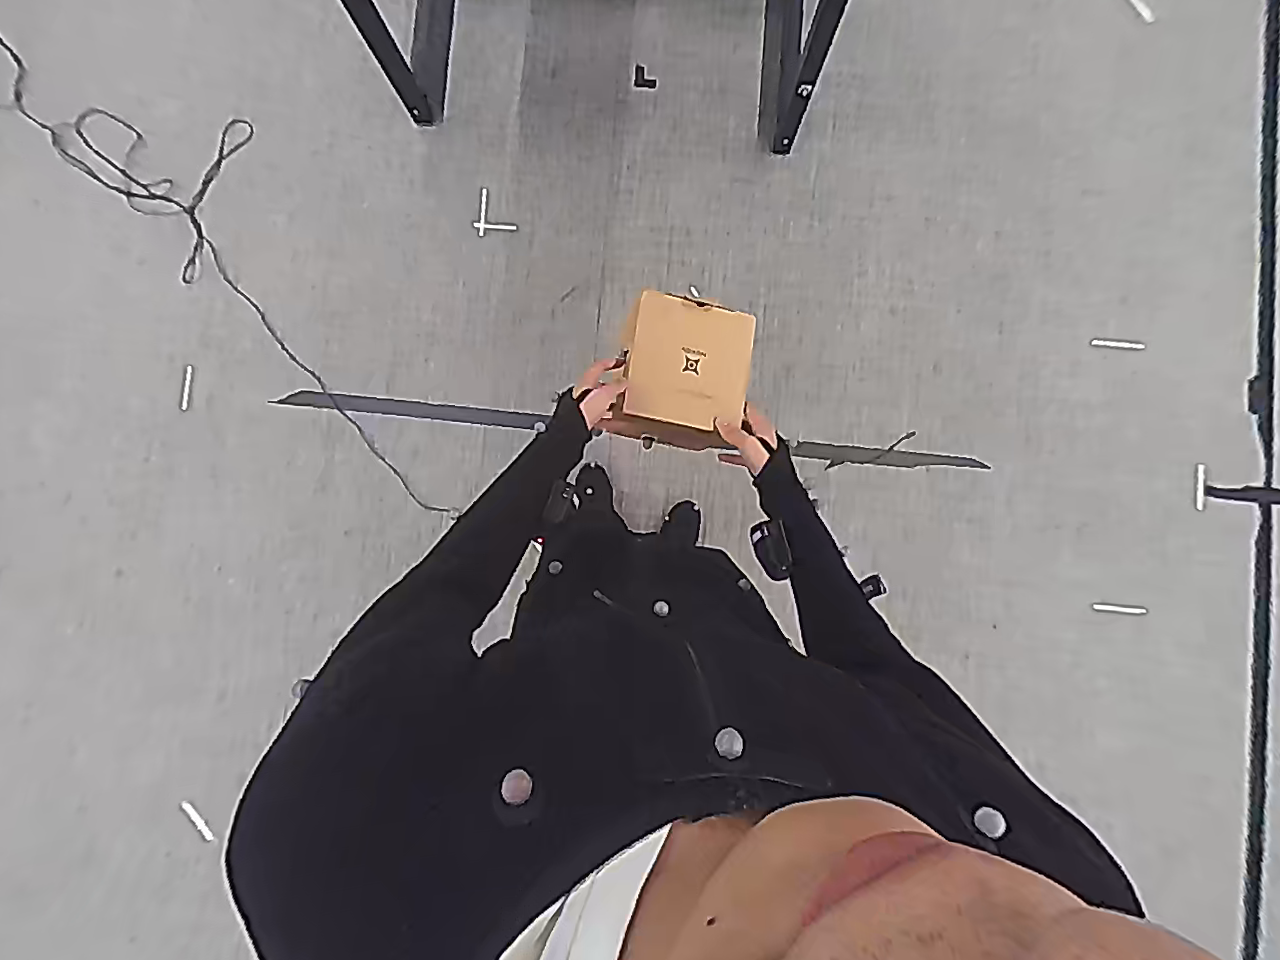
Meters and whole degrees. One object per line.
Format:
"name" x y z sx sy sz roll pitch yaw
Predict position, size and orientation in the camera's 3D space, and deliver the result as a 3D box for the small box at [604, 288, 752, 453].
"small box" 0.048 -0.149 0.800 0.168 0.176 0.179 10 82 -12
